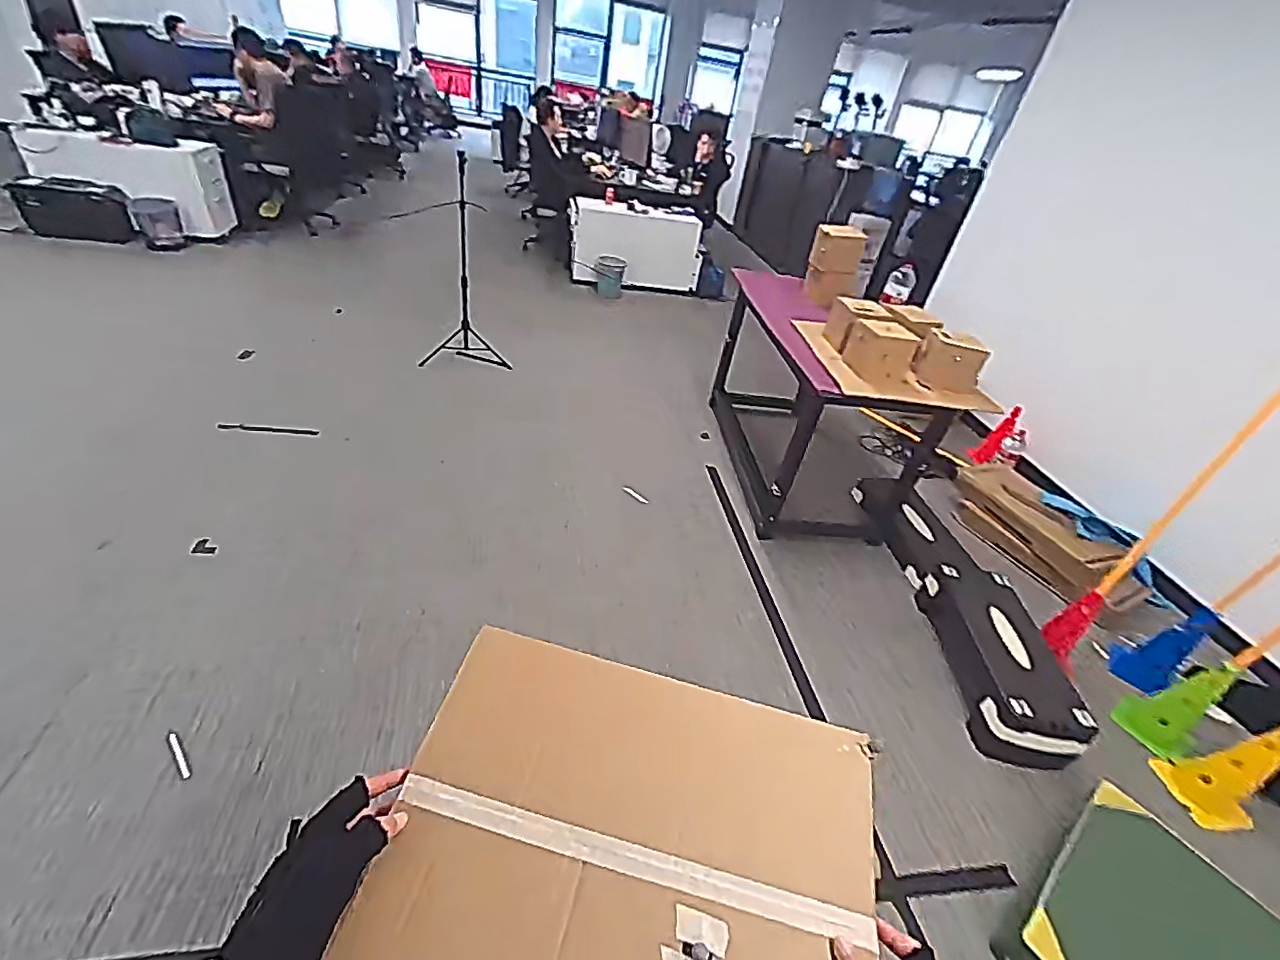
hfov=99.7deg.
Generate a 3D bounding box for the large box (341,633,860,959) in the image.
[{"bbox_3d":[-0.022,0.416,0.583,0.408,0.320,0.320,15,50,5],"label":"large box"}]
